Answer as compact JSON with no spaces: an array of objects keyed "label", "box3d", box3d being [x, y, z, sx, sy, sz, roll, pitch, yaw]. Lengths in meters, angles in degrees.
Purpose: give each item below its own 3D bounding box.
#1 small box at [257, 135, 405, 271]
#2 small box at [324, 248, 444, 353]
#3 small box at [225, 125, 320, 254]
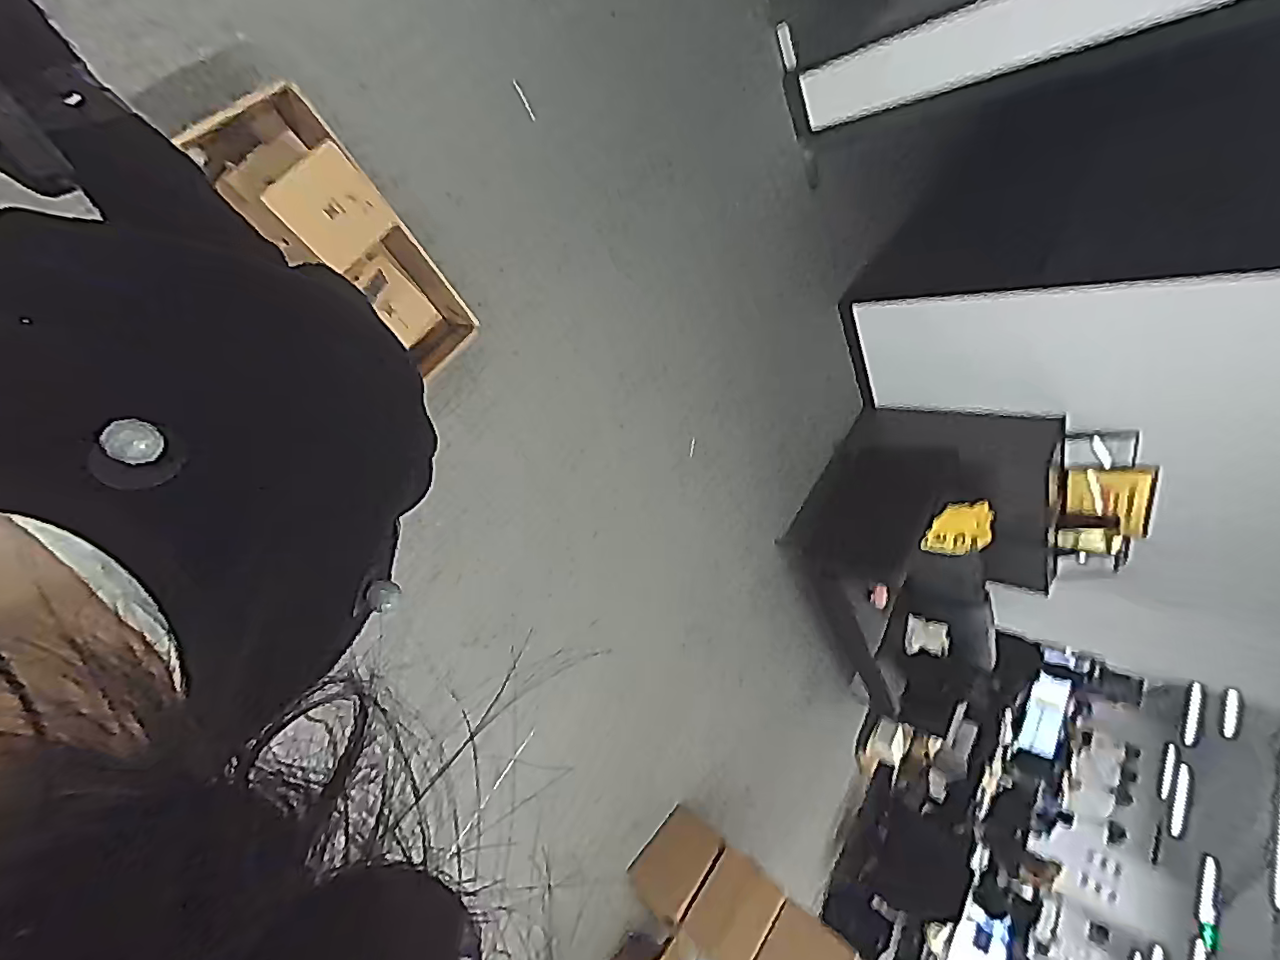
[{"label":"small box","box3d":[-0.609,-0.529,1.058,0.179,0.176,0.168,-55,134,-18]},{"label":"small box","box3d":[-0.621,-0.424,1.305,0.168,0.176,0.179,-57,132,-18]},{"label":"small box","box3d":[-0.733,-0.605,1.148,0.168,0.176,0.179,-54,133,-19]}]
